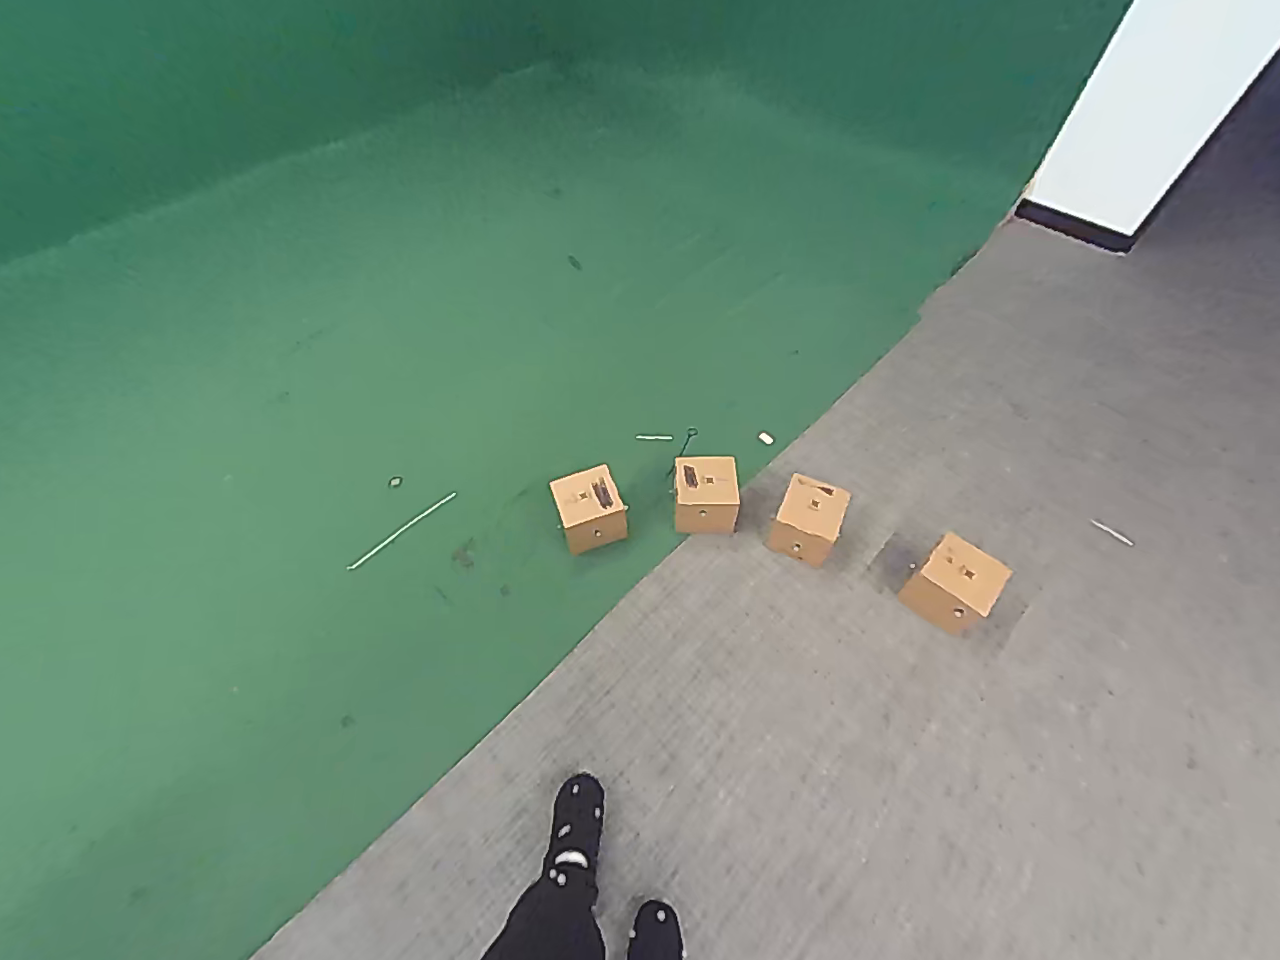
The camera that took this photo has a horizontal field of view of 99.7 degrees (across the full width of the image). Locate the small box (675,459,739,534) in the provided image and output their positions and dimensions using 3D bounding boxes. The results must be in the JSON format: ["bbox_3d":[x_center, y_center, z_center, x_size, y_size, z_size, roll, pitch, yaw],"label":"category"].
[{"bbox_3d":[0.192,0.053,1.607,0.179,0.176,0.168,0,56,1],"label":"small box"}]

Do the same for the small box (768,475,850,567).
[{"bbox_3d":[0.477,0.124,1.550,0.168,0.176,0.179,22,60,16],"label":"small box"}]

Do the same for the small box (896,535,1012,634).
[{"bbox_3d":[0.821,0.284,1.429,0.179,0.176,0.168,37,64,23],"label":"small box"}]
